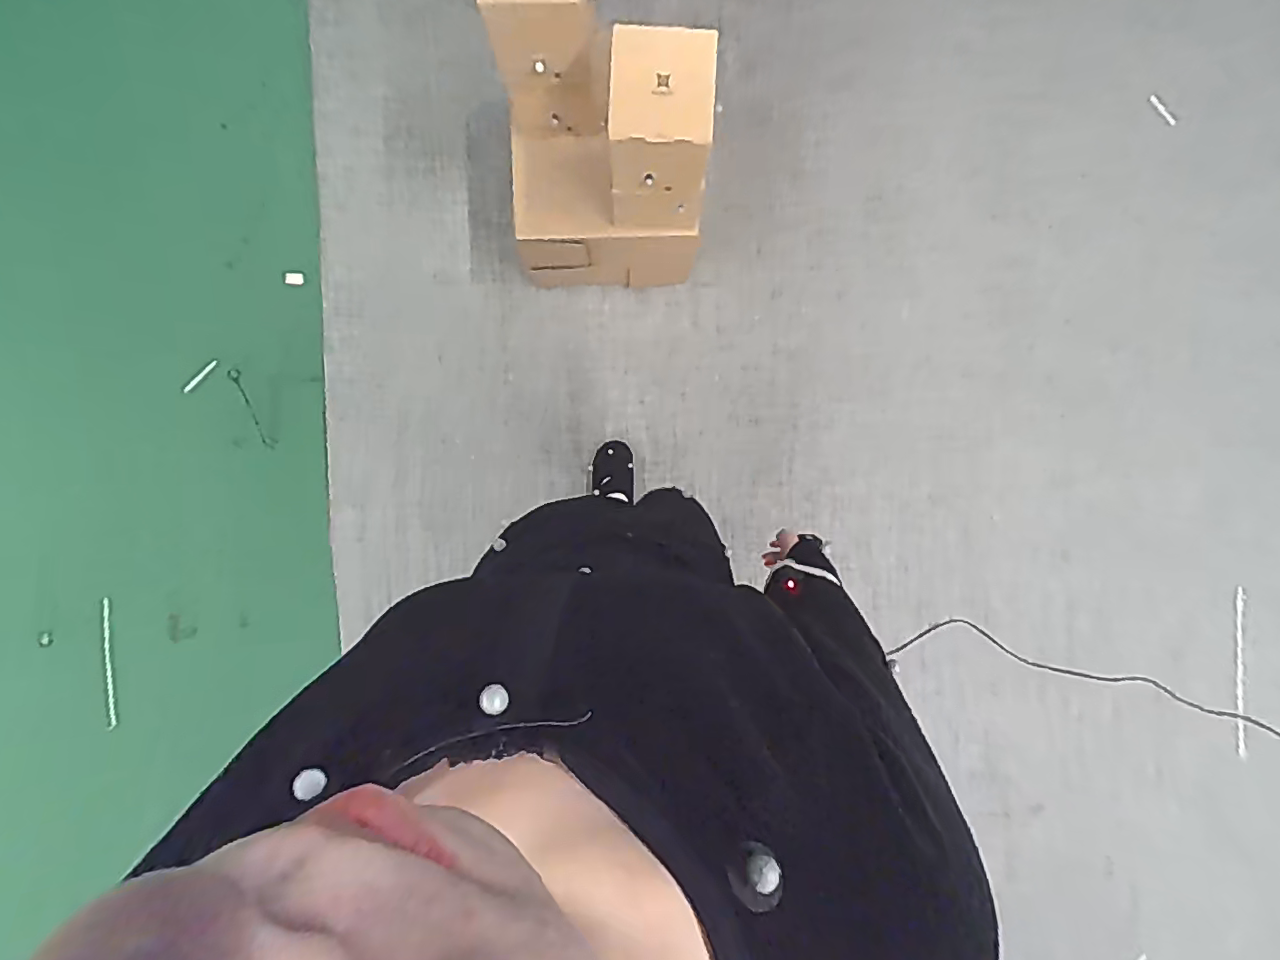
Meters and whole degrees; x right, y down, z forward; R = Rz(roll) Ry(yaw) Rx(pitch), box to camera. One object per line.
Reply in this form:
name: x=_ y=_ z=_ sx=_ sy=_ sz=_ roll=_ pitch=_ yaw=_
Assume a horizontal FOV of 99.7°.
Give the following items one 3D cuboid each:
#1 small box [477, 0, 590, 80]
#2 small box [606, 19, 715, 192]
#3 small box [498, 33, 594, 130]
small box: x=-0.175 y=-0.827 z=0.914 sx=0.168 sy=0.176 sz=0.179 roll=1 pitch=90 yaw=1
small box: x=0.029 y=-0.623 z=0.918 sx=0.168 sy=0.176 sz=0.179 roll=2 pitch=91 yaw=-1
small box: x=-0.182 y=-0.840 z=1.079 sx=0.168 sy=0.176 sz=0.179 roll=-1 pitch=89 yaw=1
